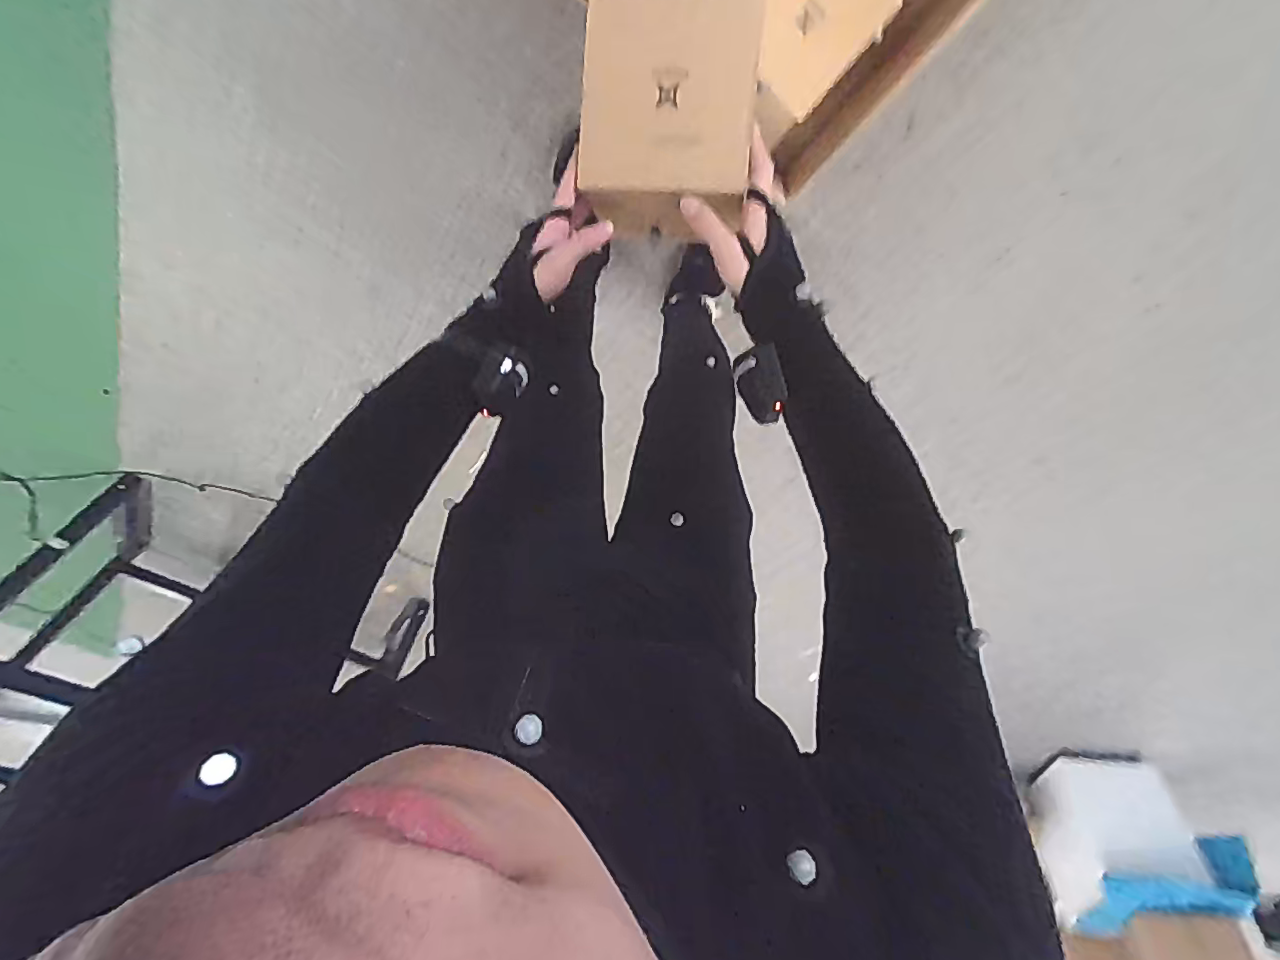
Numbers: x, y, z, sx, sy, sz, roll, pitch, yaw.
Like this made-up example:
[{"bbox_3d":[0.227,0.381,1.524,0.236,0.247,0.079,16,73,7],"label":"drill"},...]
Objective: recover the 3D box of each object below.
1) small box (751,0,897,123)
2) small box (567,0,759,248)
[{"bbox_3d":[0.233,-0.669,0.782,0.168,0.176,0.179,33,130,-21],"label":"small box"},{"bbox_3d":[0.027,-0.368,0.577,0.168,0.176,0.179,6,98,7],"label":"small box"}]
